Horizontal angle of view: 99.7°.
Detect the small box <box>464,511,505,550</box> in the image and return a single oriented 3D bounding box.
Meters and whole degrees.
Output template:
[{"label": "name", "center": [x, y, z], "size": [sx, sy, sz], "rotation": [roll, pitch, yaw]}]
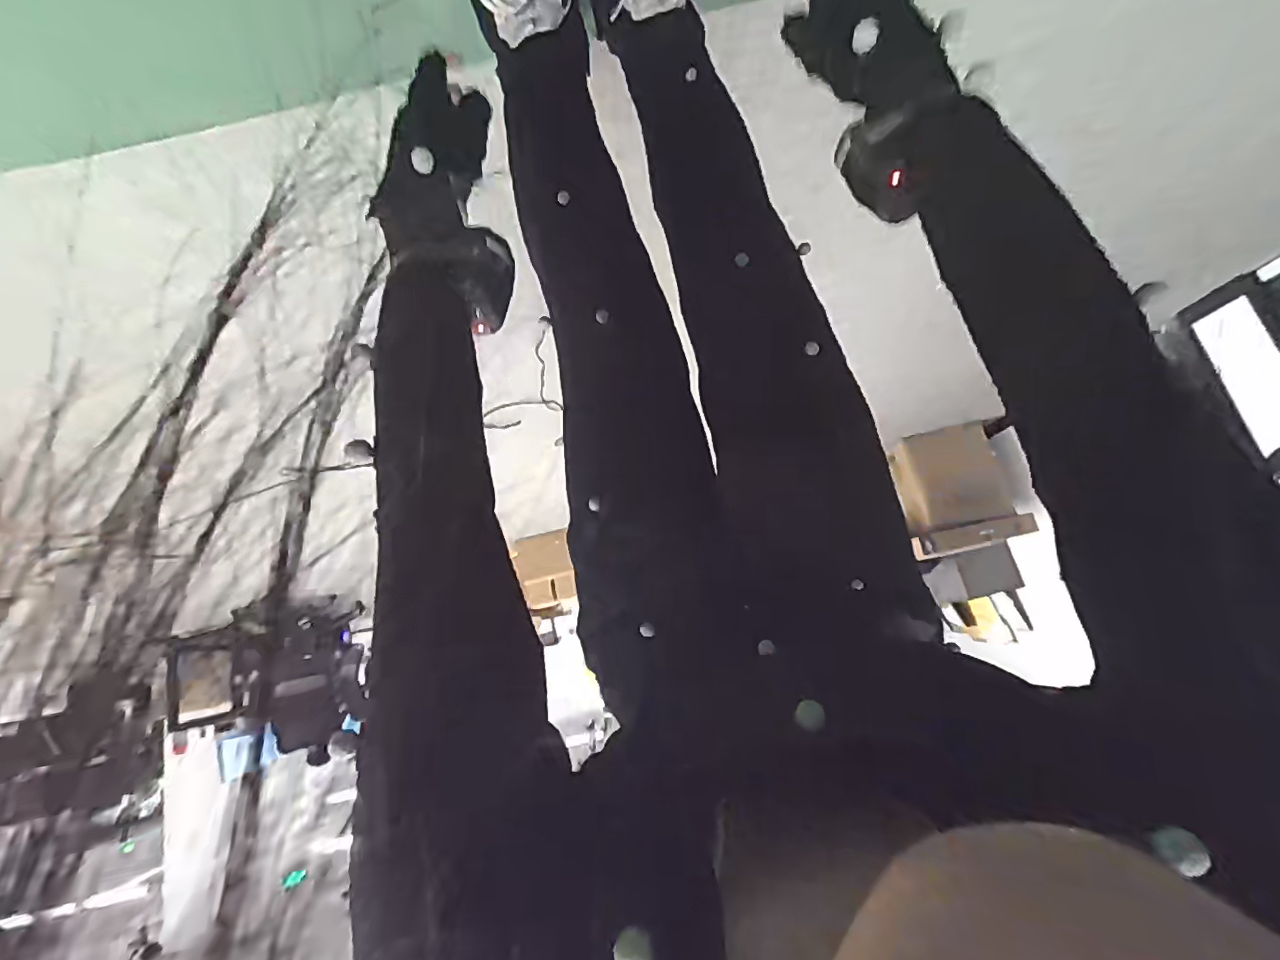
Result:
[{"label": "small box", "center": [-0.877, 0.285, 3.032], "size": [0.179, 0.176, 0.168], "rotation": [-14, 165, 0]}]
